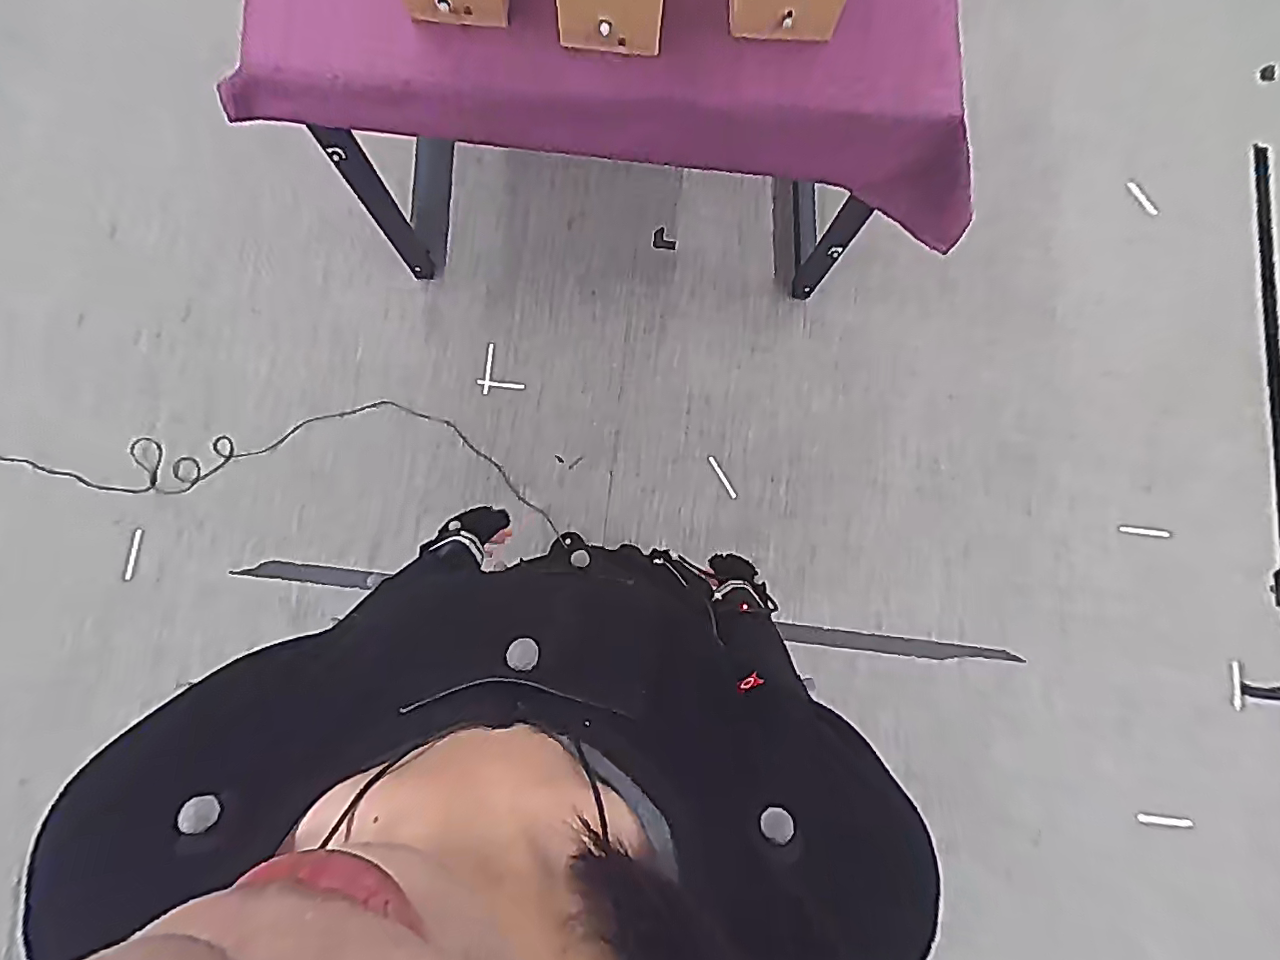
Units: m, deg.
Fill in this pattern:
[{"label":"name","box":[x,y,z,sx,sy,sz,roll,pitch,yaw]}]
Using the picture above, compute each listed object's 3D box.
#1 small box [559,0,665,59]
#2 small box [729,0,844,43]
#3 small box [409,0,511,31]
[{"label":"small box","box":[-0.040,-0.816,0.846,0.168,0.176,0.179,5,82,-2]},{"label":"small box","box":[0.247,-0.847,0.865,0.179,0.176,0.168,1,82,-3]},{"label":"small box","box":[-0.295,-0.858,0.841,0.168,0.176,0.179,2,83,-2]}]
